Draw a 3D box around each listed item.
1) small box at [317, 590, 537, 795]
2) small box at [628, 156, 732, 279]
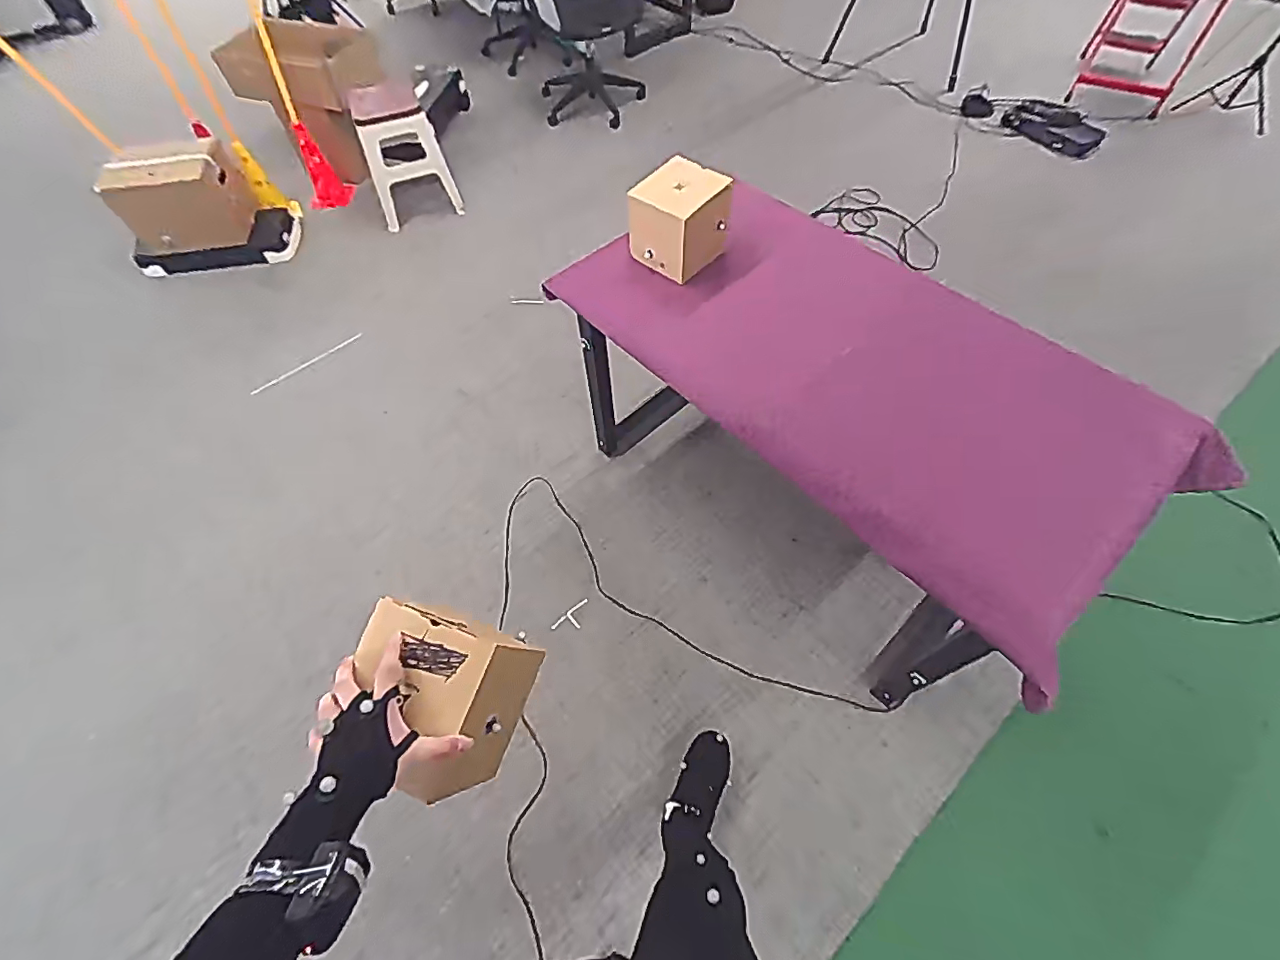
[{"bbox_3d":[-0.252,0.259,0.689,0.168,0.176,0.179,17,75,17],"label":"small box"},{"bbox_3d":[0.090,-0.605,1.251,0.168,0.176,0.179,37,67,23],"label":"small box"}]
